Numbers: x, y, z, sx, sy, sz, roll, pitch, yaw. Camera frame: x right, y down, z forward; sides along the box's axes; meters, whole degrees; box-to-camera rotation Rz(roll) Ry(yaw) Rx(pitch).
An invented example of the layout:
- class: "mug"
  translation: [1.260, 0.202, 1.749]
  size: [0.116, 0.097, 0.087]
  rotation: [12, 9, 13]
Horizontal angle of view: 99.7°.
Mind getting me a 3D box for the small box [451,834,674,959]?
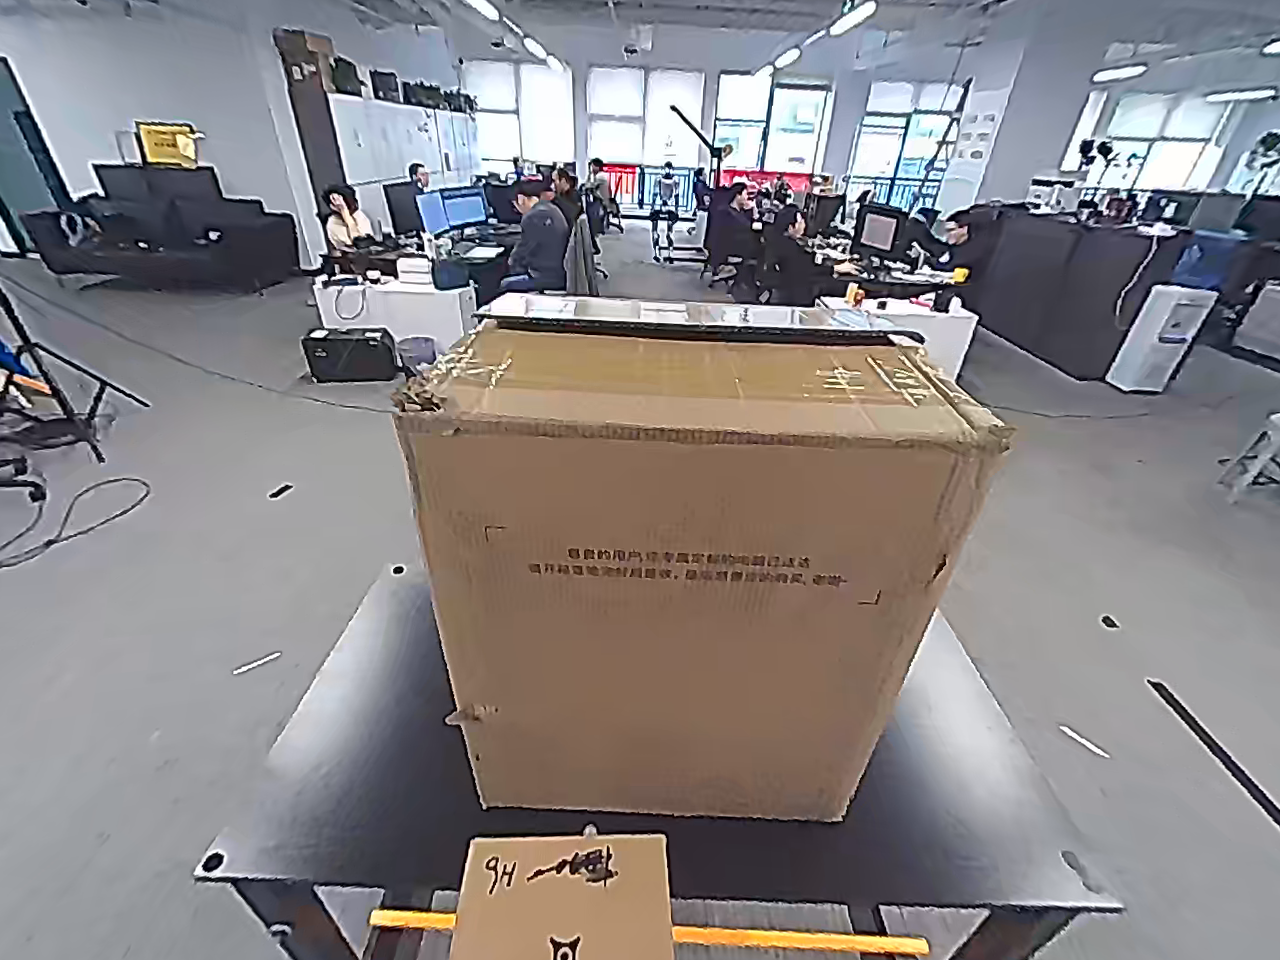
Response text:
- class: "small box"
  translation: [-0.060, 0.416, 0.439]
  size: [0.168, 0.176, 0.179]
  rotation: [2, 39, -5]
